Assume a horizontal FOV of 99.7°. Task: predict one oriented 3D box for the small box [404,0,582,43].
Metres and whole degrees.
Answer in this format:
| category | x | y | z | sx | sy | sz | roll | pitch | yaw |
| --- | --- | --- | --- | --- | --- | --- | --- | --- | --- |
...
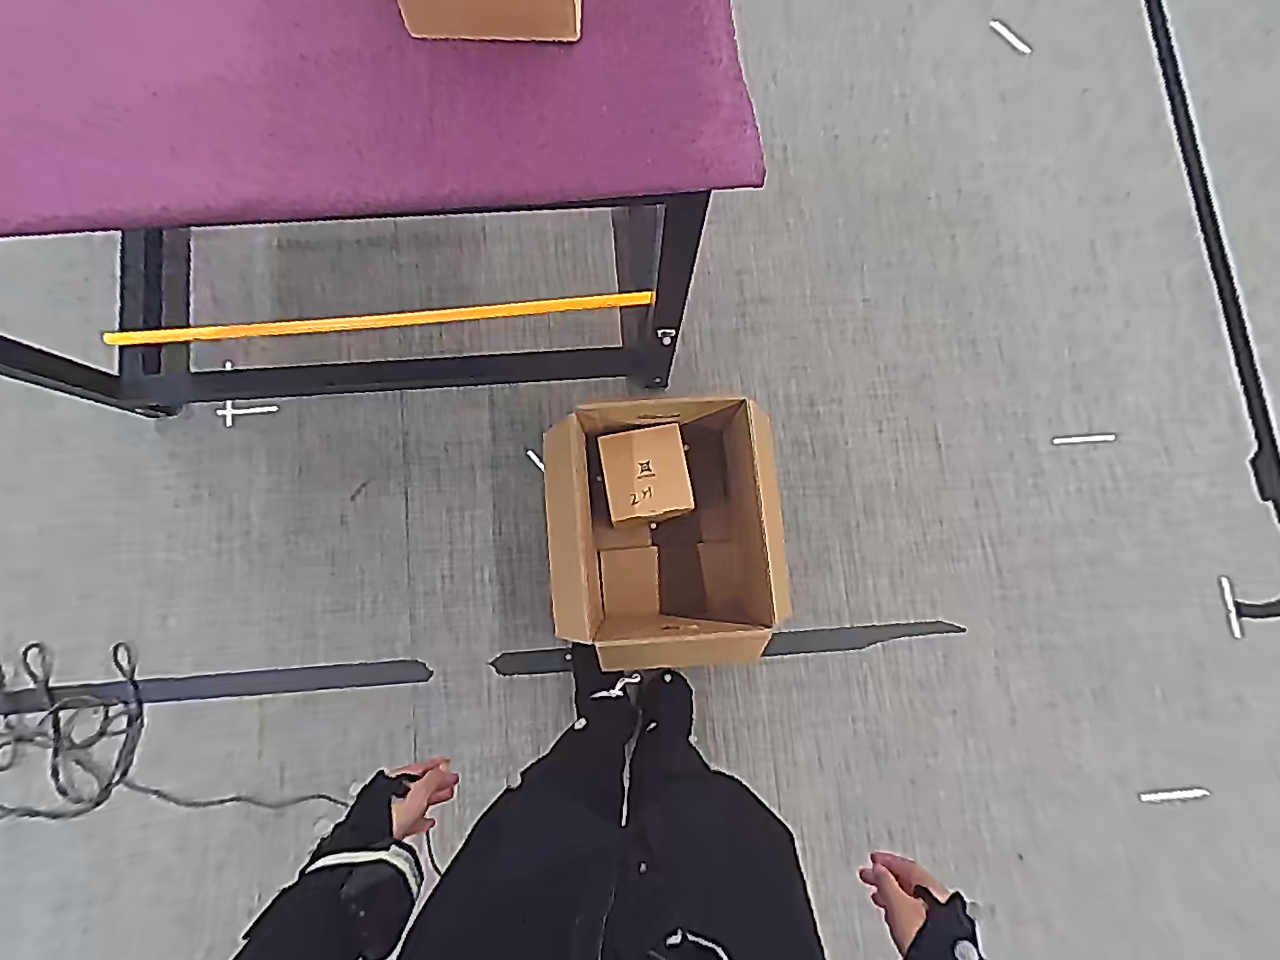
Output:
| category | x | y | z | sx | sy | sz | roll | pitch | yaw |
| --- | --- | --- | --- | --- | --- | --- | --- | --- | --- |
| small box | -0.142 | -0.546 | 0.496 | 0.179 | 0.176 | 0.168 | 1 | 81 | -1 |
